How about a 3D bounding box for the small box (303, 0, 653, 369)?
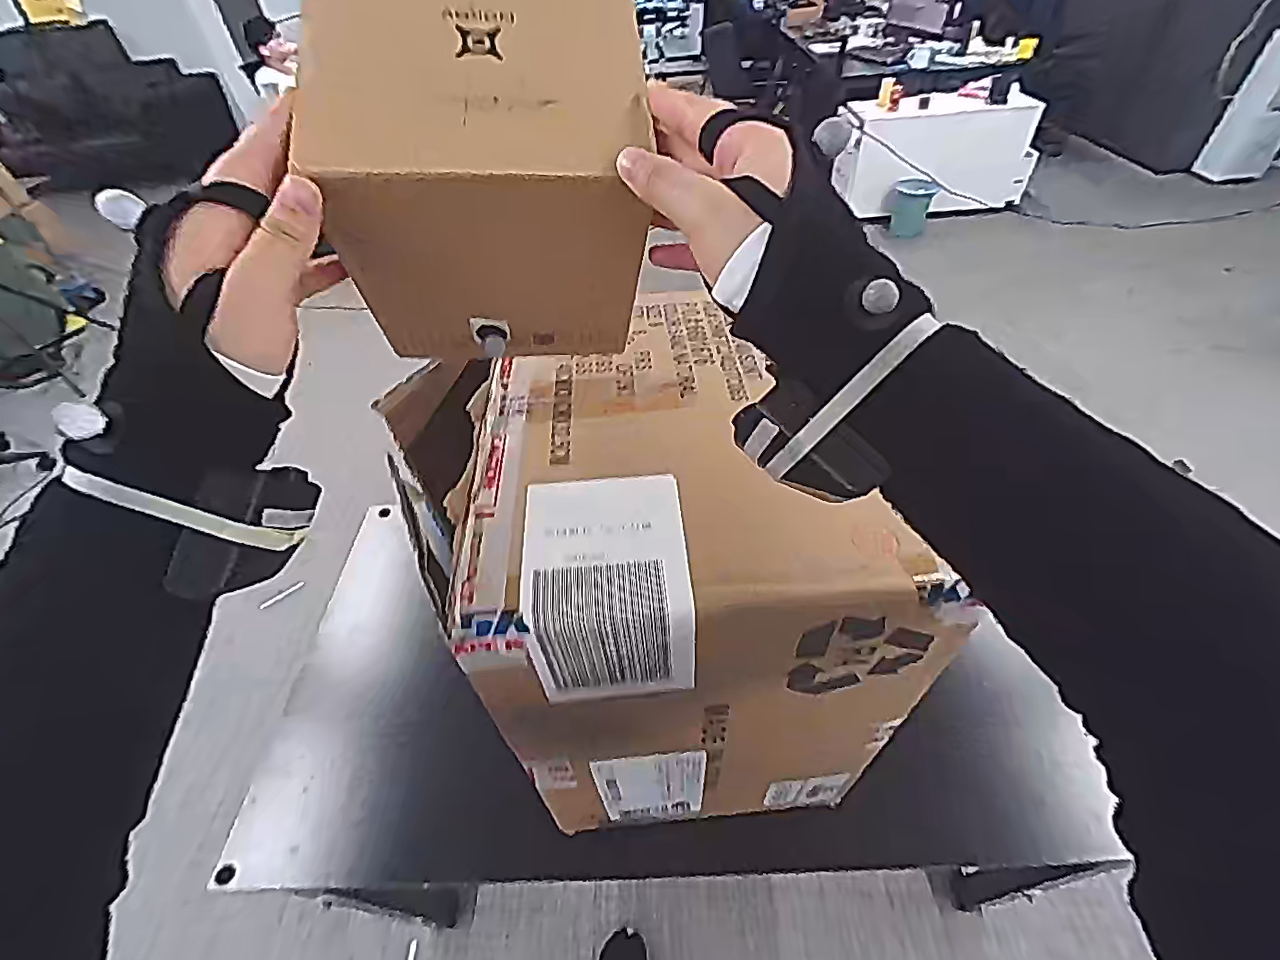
[{"bbox_3d":[-0.092,-0.194,0.359,0.168,0.176,0.179,-5,73,-8],"label":"small box"}]
